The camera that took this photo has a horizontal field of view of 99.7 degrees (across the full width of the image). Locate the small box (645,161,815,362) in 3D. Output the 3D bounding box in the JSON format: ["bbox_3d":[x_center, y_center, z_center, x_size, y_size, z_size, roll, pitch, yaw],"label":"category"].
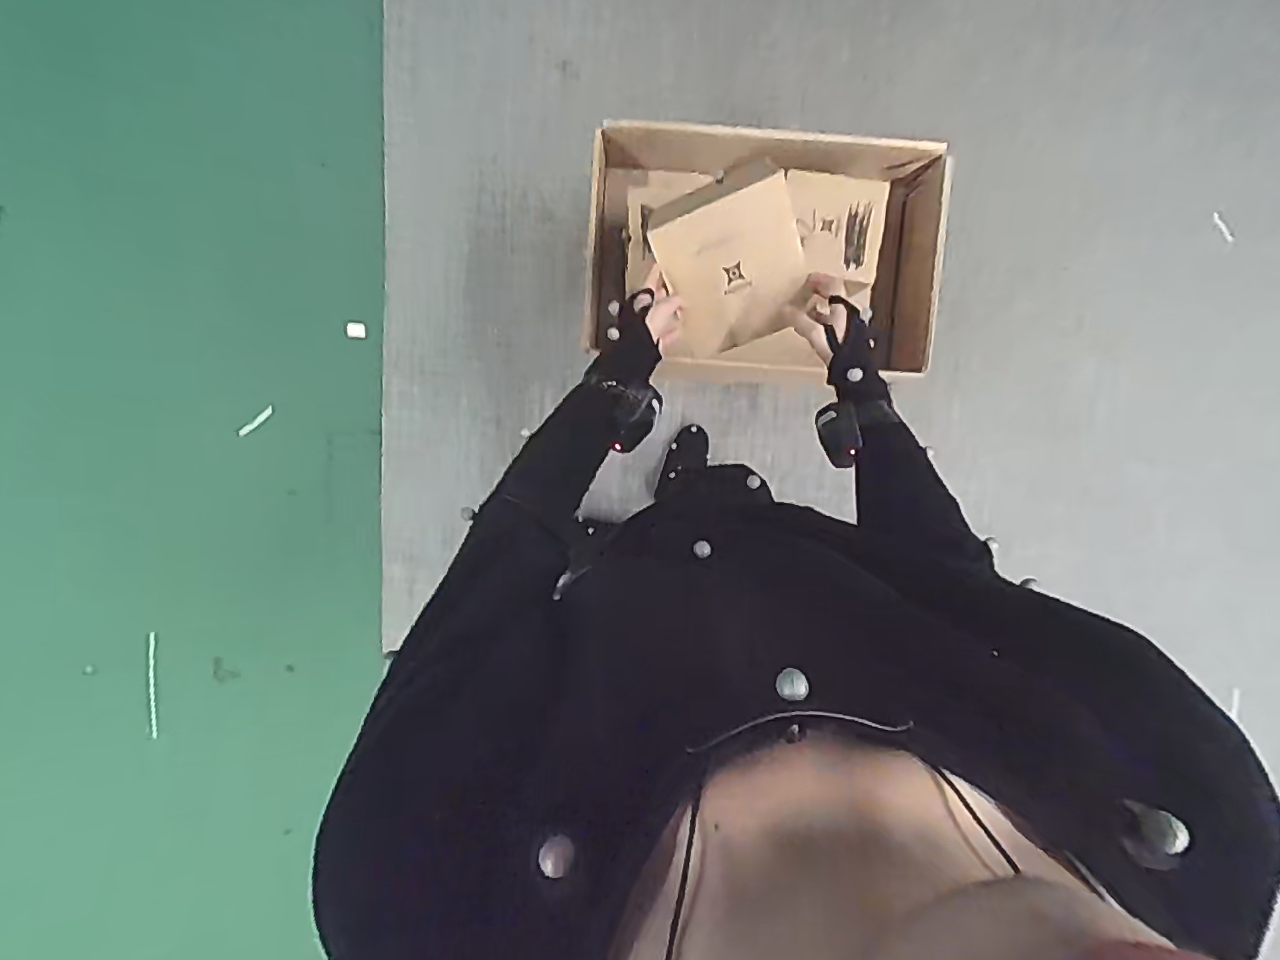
[{"bbox_3d":[0.118,-0.290,0.714,0.168,0.176,0.179,-17,123,17],"label":"small box"}]
